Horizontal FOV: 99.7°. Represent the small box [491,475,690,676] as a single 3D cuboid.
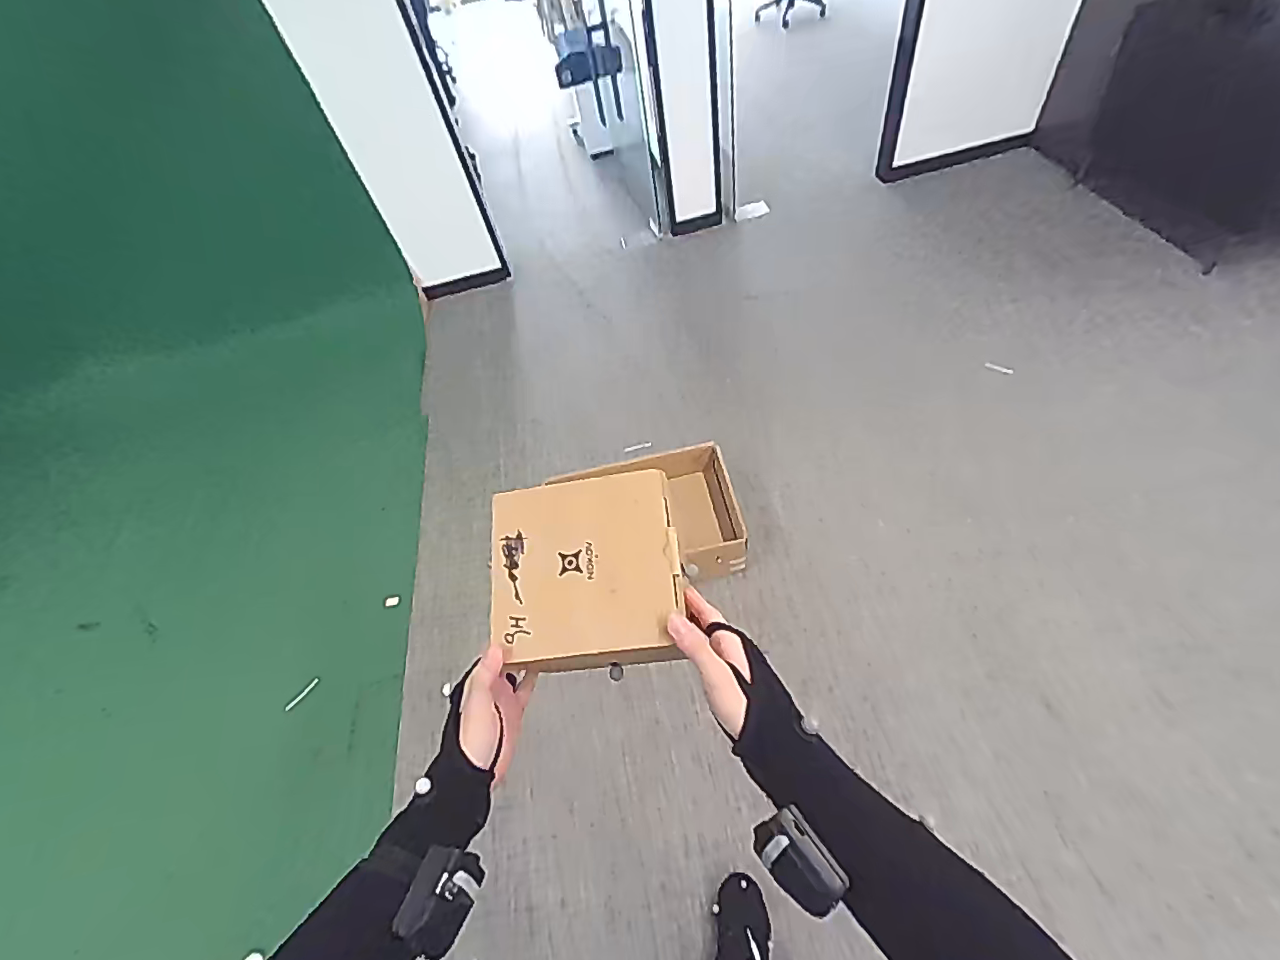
[{"bbox_3d":[-0.041,0.110,0.573,0.179,0.176,0.168,-7,64,6],"label":"small box"}]
